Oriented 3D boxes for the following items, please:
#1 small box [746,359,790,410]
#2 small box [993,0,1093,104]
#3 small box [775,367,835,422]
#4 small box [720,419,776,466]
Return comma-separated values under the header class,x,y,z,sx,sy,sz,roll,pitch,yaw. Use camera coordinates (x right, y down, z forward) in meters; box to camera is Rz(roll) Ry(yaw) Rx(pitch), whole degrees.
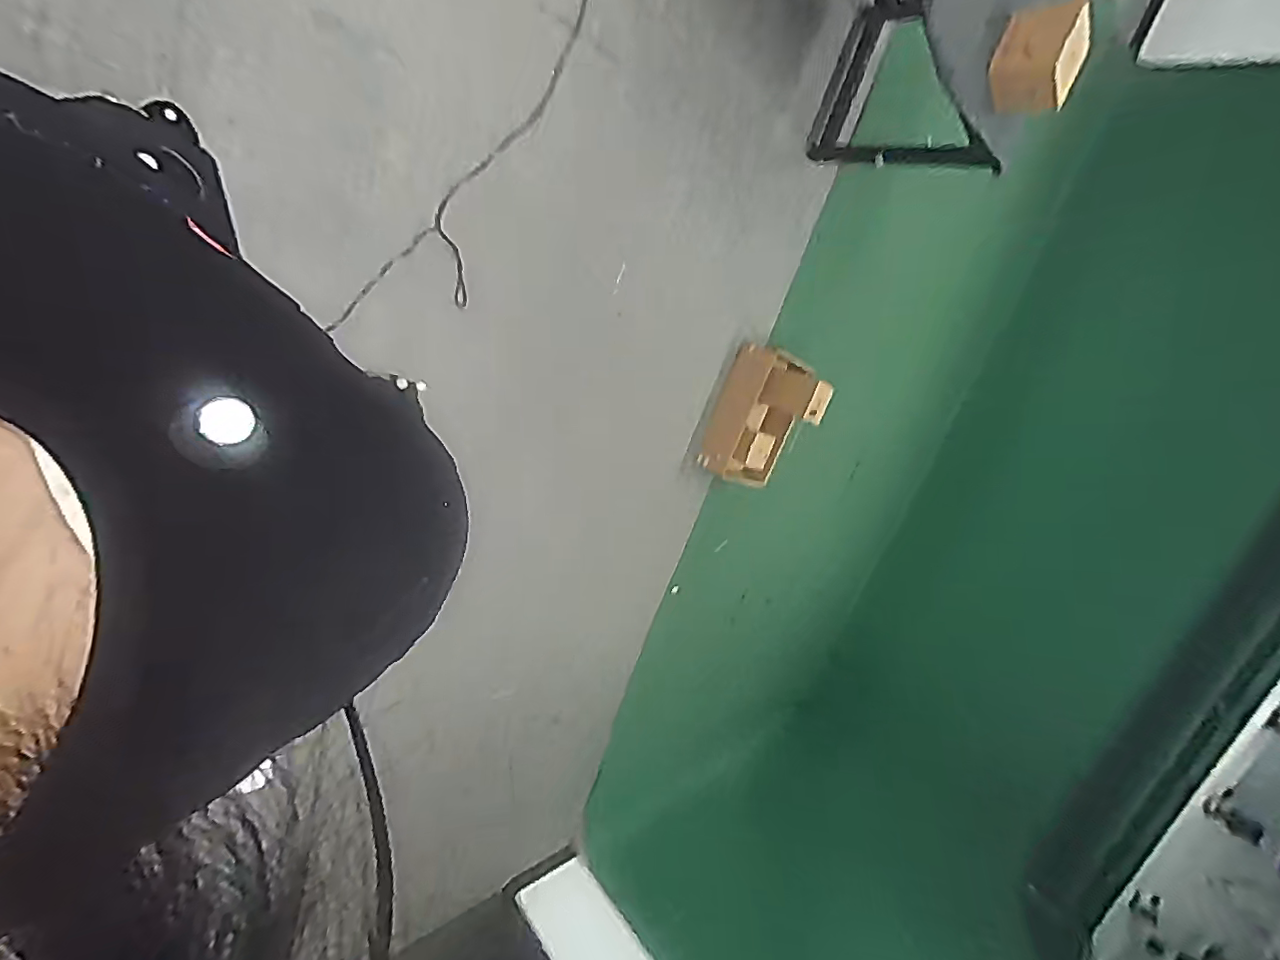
class,x,y,z,sx,sy,sz,roll,pitch,yaw
small box,0.624,-0.448,2.515,0.168,0.176,0.179,8,109,-47
small box,1.088,-1.155,1.468,0.179,0.176,0.168,11,106,-50
small box,0.729,-0.380,2.408,0.168,0.176,0.179,9,107,-48
small box,0.510,-0.182,2.573,0.179,0.176,0.168,11,105,-48
